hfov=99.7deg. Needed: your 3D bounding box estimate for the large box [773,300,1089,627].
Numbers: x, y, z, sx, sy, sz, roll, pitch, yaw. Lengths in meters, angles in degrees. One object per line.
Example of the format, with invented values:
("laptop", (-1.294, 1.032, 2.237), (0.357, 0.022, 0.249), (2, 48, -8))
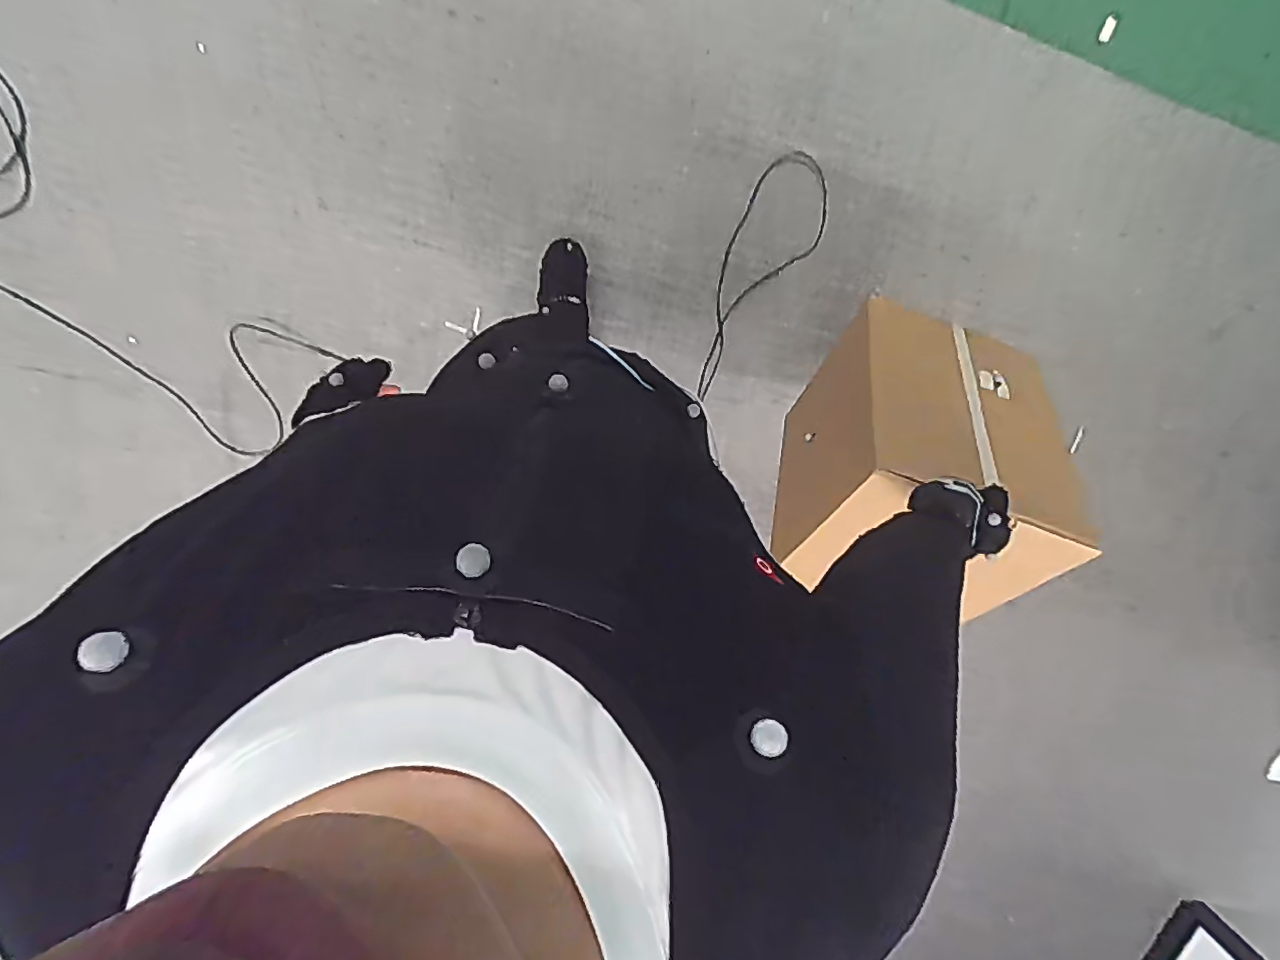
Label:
("large box", (0.442, -0.024, 0.922), (0.320, 0.408, 0.320), (21, 141, -3))
